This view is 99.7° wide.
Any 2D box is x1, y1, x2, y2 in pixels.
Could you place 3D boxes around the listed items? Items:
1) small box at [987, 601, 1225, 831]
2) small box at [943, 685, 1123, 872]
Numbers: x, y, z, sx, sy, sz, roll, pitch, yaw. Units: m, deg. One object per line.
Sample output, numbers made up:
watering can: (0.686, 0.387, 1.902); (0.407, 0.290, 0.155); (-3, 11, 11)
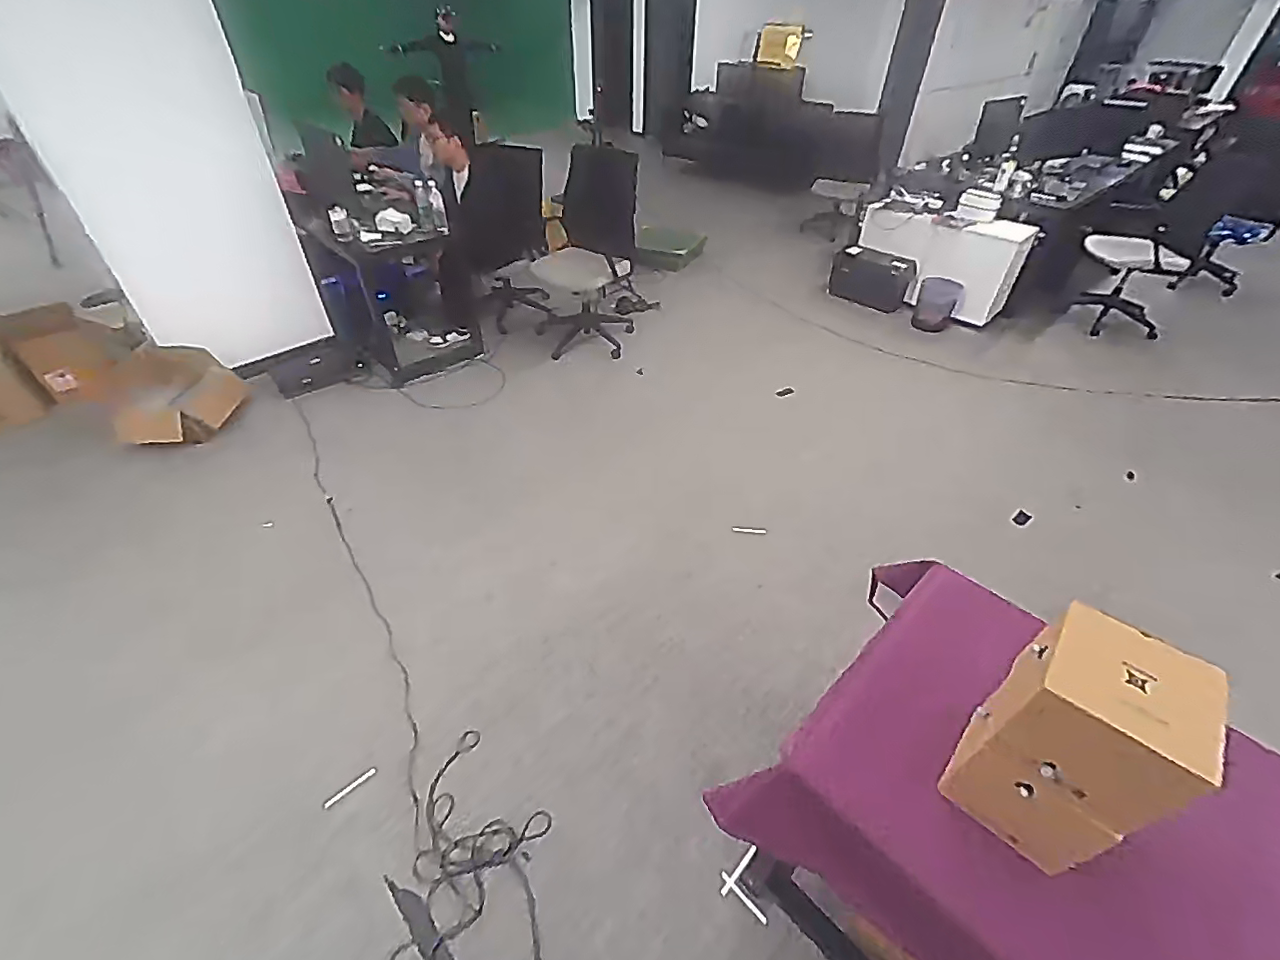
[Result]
small box: (0.586, 0.300, 0.697); (0.168, 0.176, 0.179); (32, 50, 30)
small box: (0.584, 0.426, 0.801); (0.168, 0.176, 0.179); (33, 50, 31)
